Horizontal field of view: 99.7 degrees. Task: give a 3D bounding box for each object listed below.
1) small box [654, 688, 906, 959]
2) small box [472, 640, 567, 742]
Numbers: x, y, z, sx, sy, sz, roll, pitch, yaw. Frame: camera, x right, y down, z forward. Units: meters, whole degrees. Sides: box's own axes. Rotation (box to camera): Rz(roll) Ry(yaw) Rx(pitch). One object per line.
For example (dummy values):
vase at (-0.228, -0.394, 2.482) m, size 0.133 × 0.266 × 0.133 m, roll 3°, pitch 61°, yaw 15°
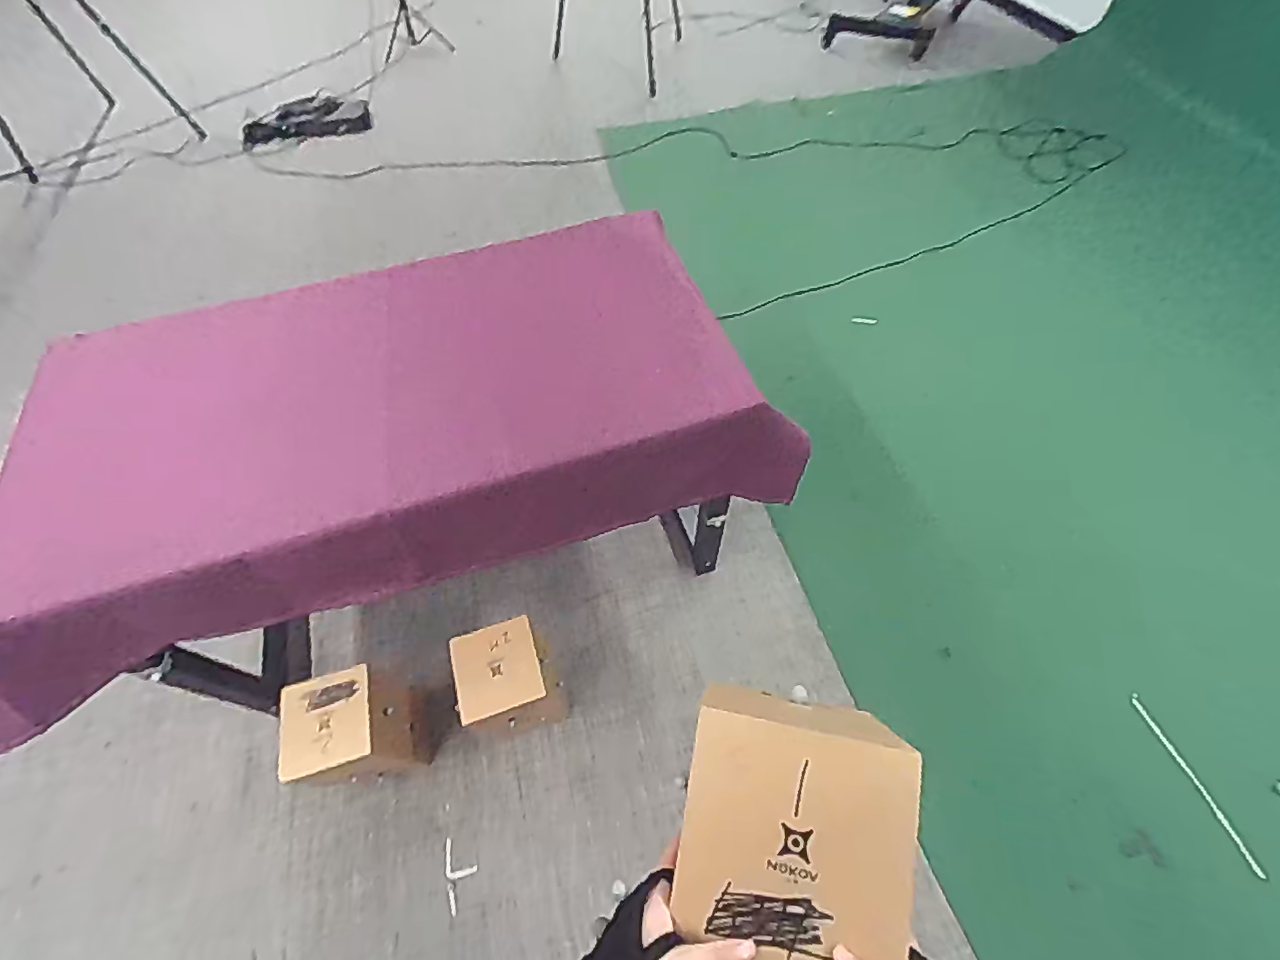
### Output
small box at (0.118, 0.299, 0.477) m, size 0.168 × 0.176 × 0.179 m, roll 8°, pitch 77°, yaw 12°
small box at (-0.285, 0.509, 1.295) m, size 0.179 × 0.176 × 0.168 m, roll -15°, pitch 58°, yaw -8°
